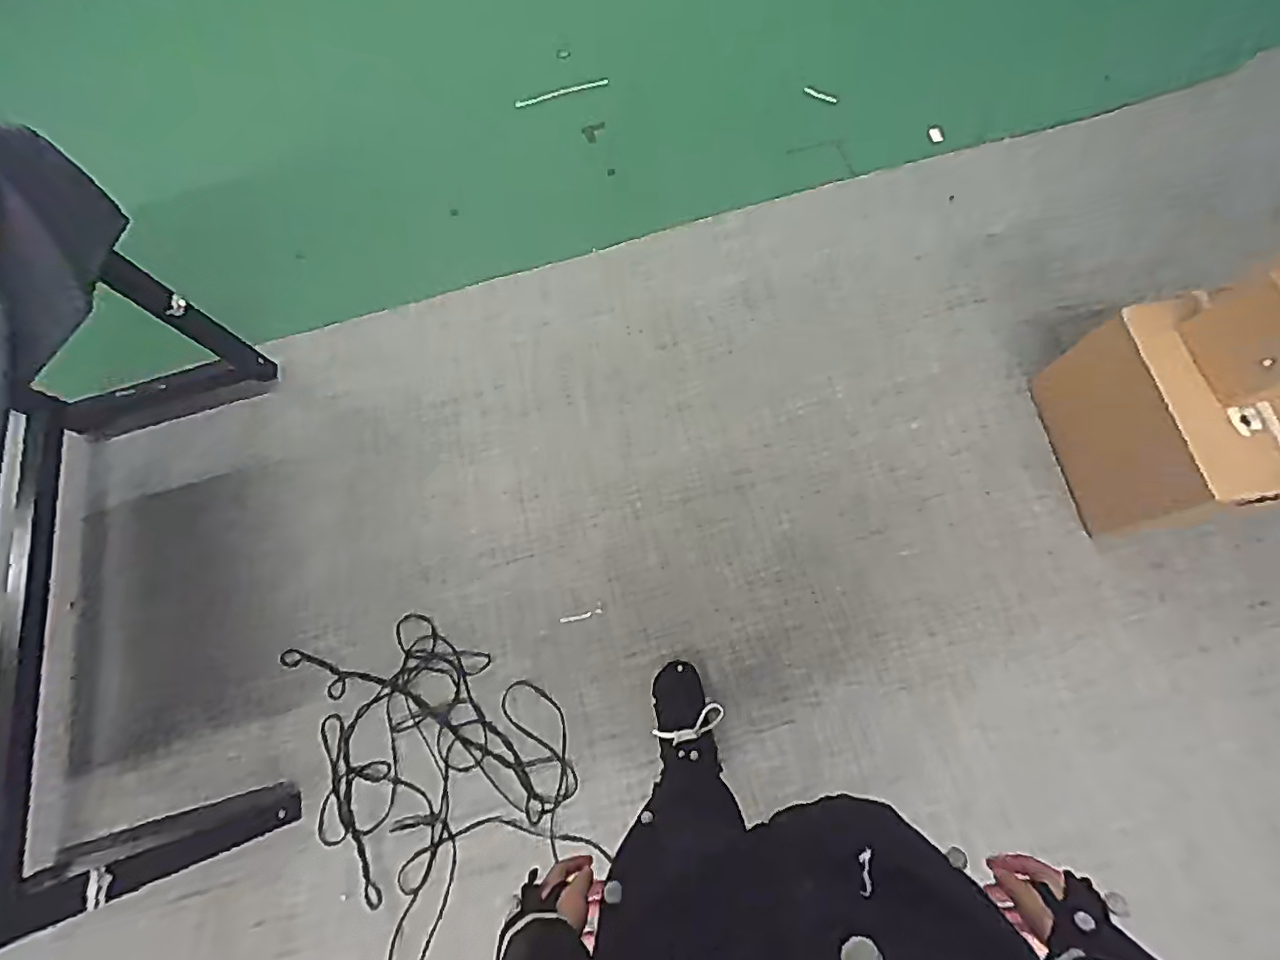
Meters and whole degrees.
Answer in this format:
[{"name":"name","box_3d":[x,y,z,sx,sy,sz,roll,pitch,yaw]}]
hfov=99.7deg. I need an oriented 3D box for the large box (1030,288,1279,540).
[{"name":"large box","box_3d":[1.128,-0.118,1.132,0.320,0.320,0.408,-10,72,3]}]
